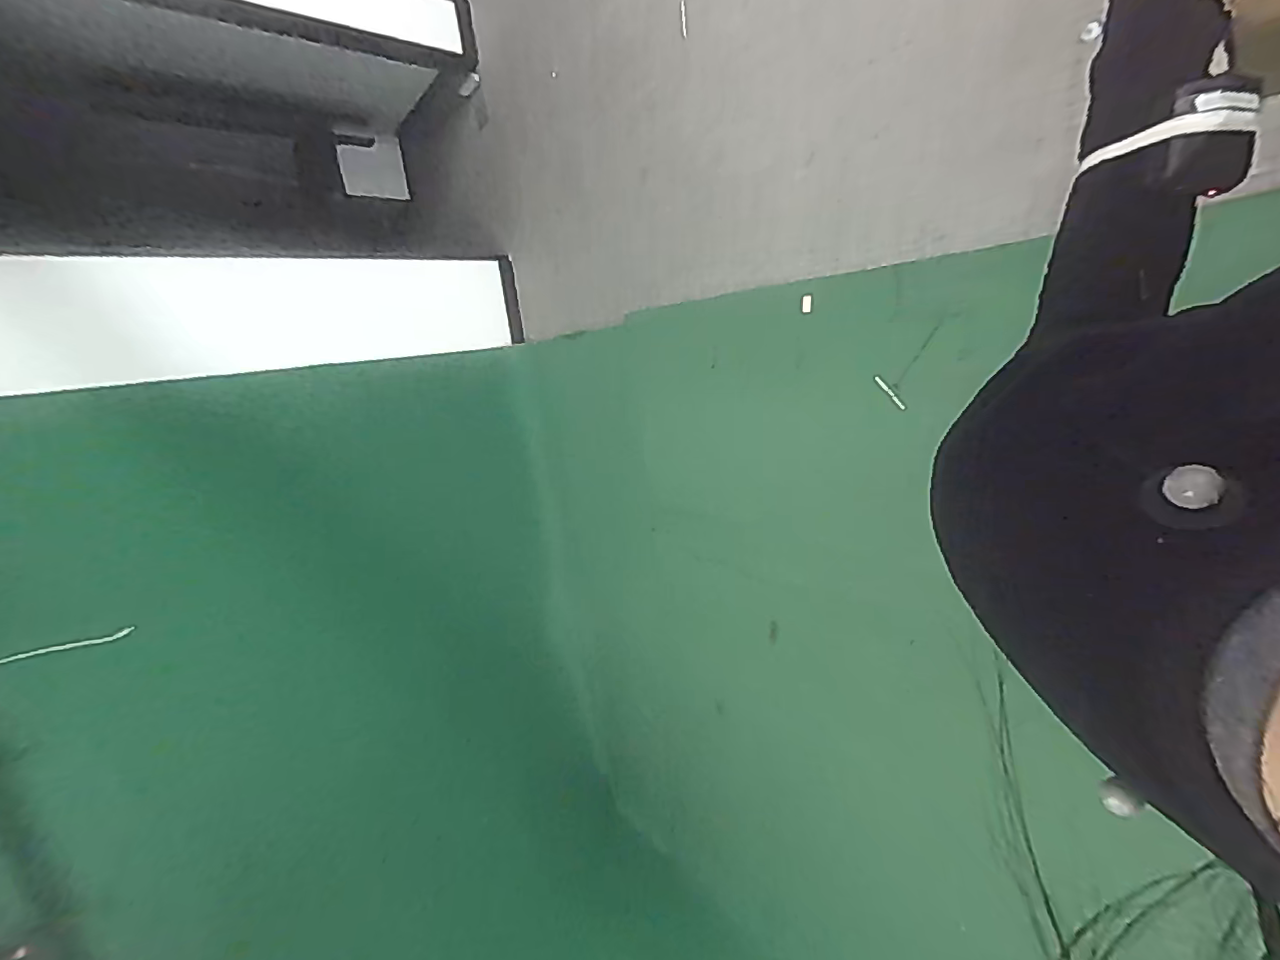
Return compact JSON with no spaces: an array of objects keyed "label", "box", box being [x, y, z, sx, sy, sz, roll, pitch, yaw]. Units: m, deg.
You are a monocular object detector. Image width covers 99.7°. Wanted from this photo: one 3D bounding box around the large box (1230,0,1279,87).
[{"label":"large box","box":[0.597,-0.462,0.250,0.408,0.320,0.320,10,111,48]}]
